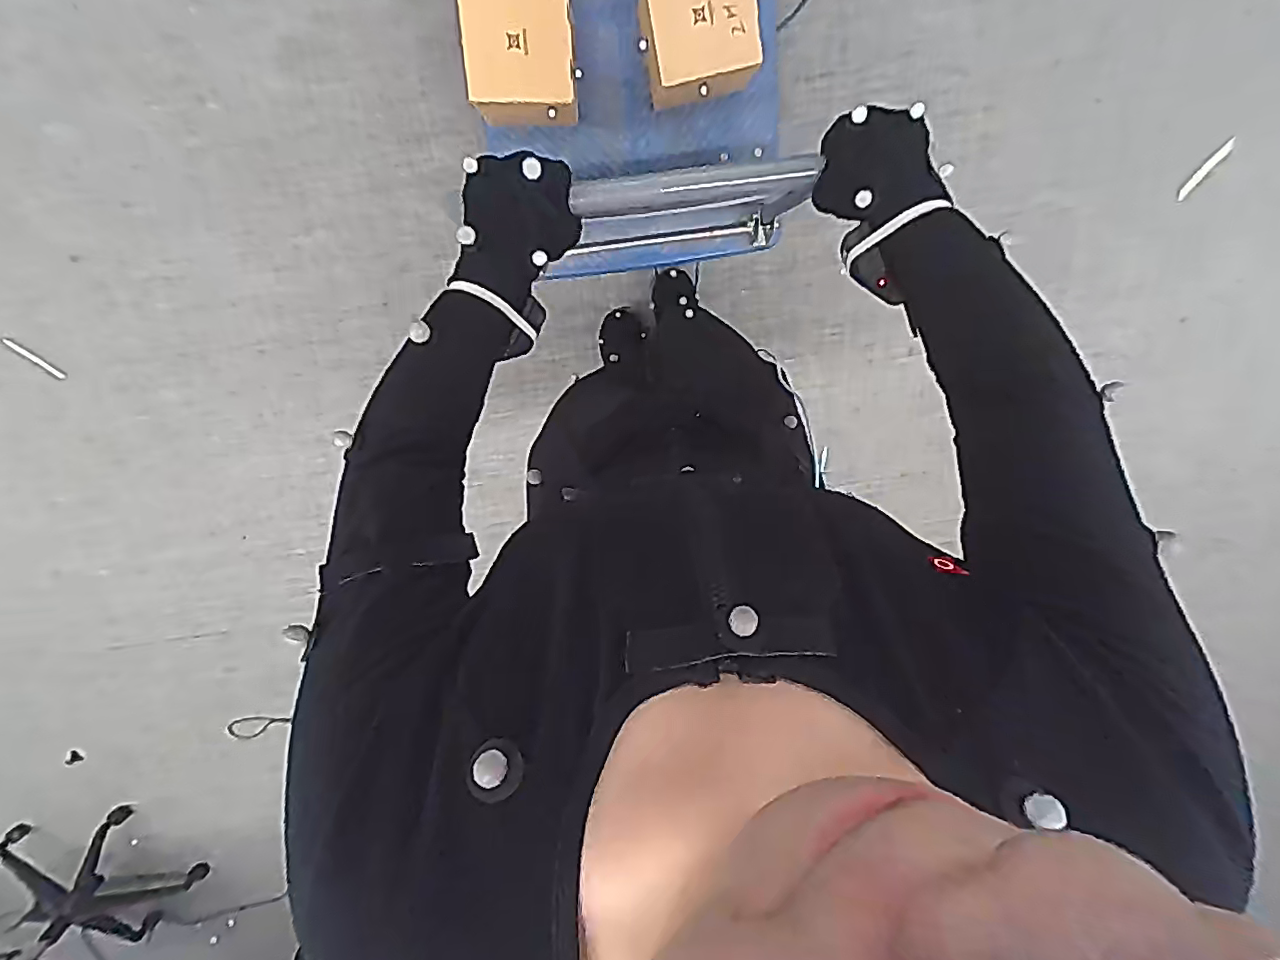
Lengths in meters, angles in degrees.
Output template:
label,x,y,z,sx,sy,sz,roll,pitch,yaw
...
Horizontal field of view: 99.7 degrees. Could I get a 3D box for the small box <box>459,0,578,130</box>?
label,x,y,z,sx,sy,sz,roll,pitch,yaw
small box,-0.204,-0.733,0.957,0.179,0.176,0.168,-3,112,-4

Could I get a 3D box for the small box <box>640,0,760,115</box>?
label,x,y,z,sx,sy,sz,roll,pitch,yaw
small box,0.098,-0.776,0.958,0.179,0.176,0.168,-13,112,2
